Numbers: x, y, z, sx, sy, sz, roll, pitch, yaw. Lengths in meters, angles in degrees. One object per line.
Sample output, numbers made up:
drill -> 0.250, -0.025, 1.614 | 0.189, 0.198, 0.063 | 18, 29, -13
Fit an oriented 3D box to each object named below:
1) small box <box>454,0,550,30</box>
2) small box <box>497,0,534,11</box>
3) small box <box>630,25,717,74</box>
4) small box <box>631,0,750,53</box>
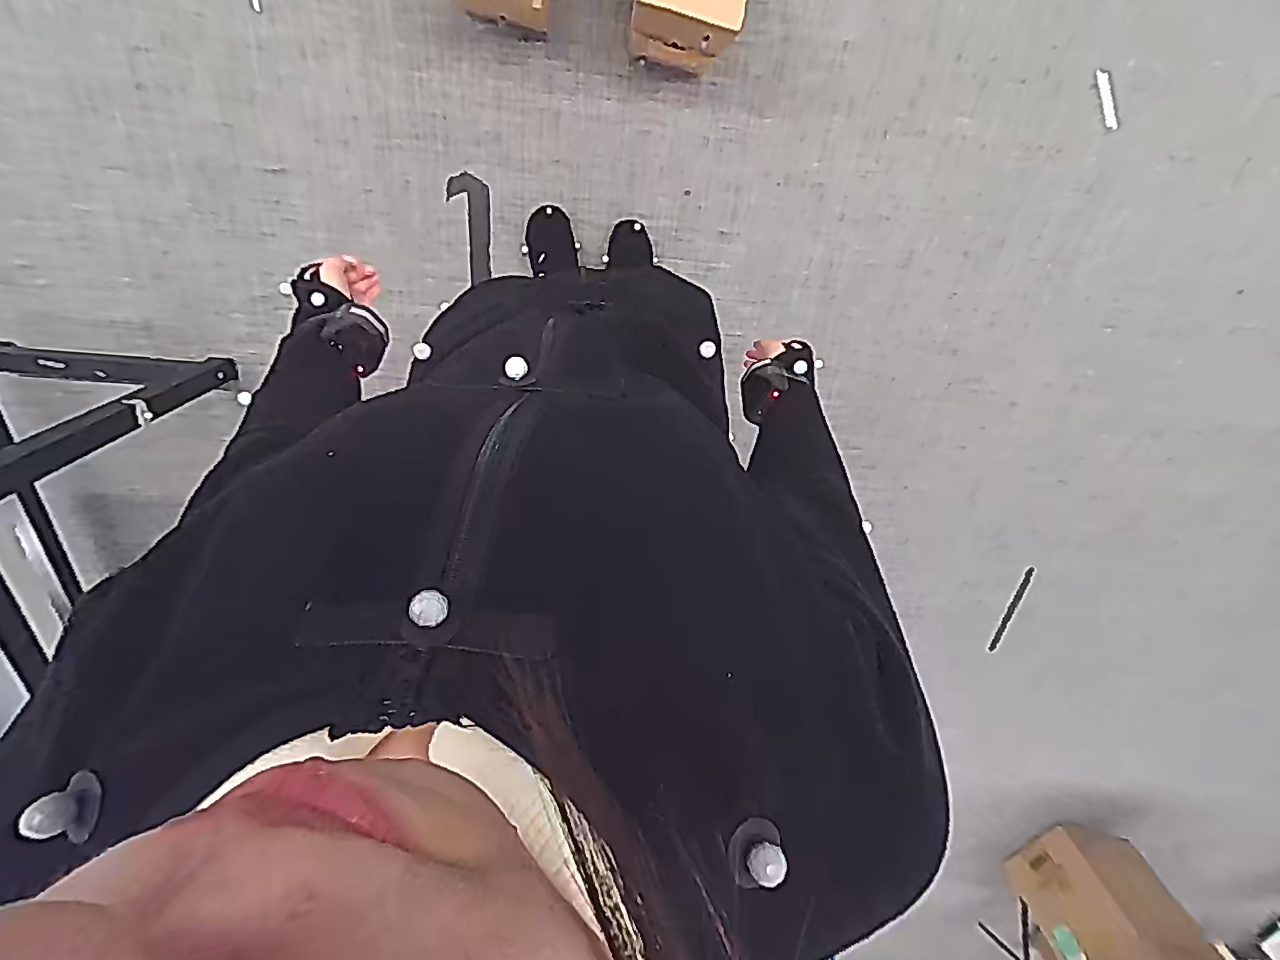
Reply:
small box -> -0.249, -0.949, 0.977 | 0.179, 0.176, 0.168 | 8, 117, -9
small box -> -0.240, -0.873, 0.831 | 0.179, 0.176, 0.168 | 20, 116, -14
small box -> 0.076, -0.904, 1.026 | 0.168, 0.176, 0.179 | 9, 117, -9
small box -> 0.090, -0.831, 0.881 | 0.179, 0.176, 0.168 | 10, 116, -9
